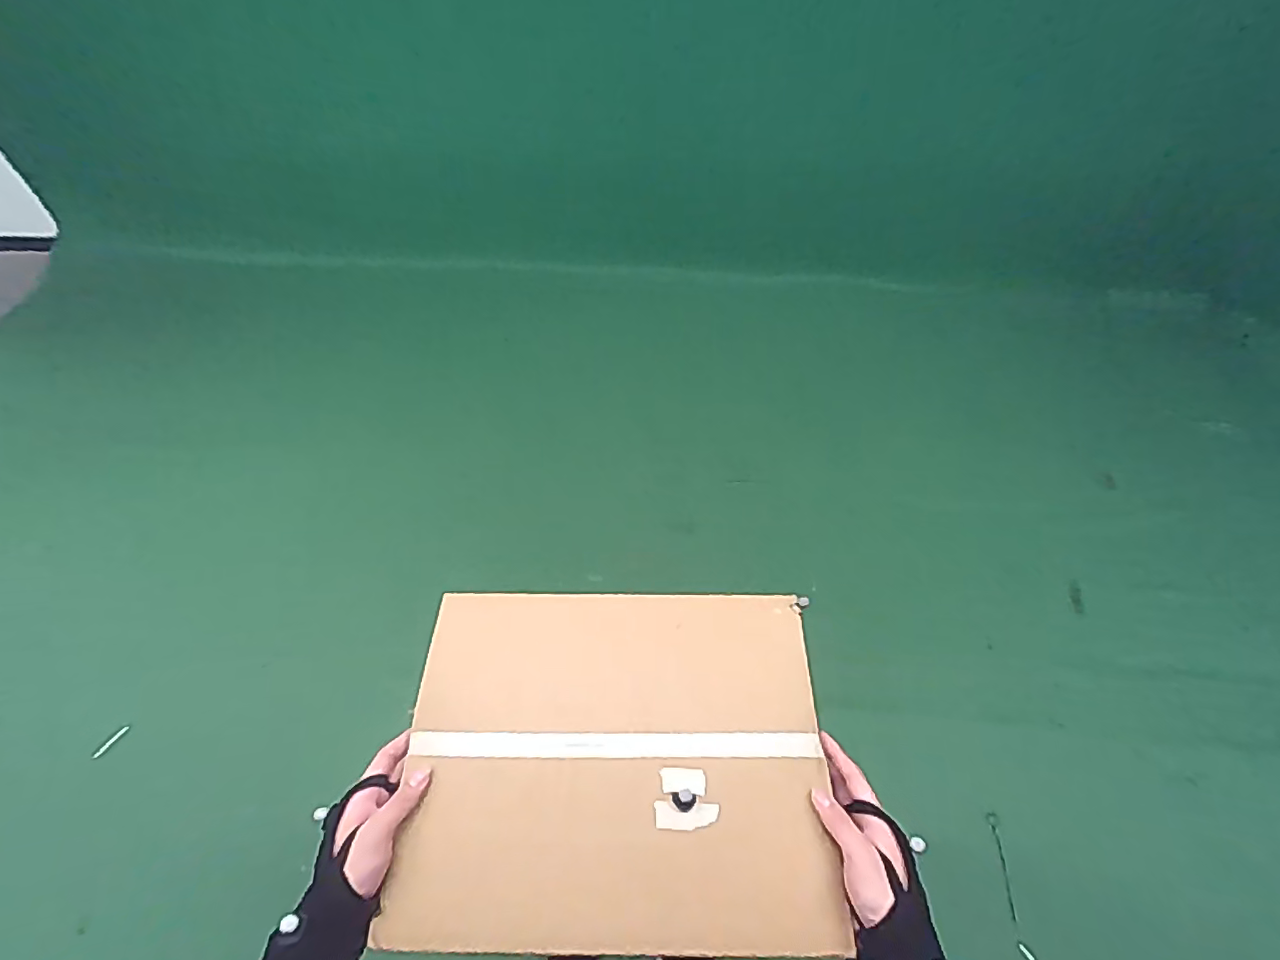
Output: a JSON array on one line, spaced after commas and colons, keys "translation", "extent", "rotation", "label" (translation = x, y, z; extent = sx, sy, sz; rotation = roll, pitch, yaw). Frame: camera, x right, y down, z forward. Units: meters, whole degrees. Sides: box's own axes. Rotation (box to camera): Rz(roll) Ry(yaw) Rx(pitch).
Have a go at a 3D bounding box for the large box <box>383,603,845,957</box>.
[{"translation": [-0.025, 0.356, 0.663], "extent": [0.408, 0.320, 0.320], "rotation": [0, 56, 0], "label": "large box"}]
